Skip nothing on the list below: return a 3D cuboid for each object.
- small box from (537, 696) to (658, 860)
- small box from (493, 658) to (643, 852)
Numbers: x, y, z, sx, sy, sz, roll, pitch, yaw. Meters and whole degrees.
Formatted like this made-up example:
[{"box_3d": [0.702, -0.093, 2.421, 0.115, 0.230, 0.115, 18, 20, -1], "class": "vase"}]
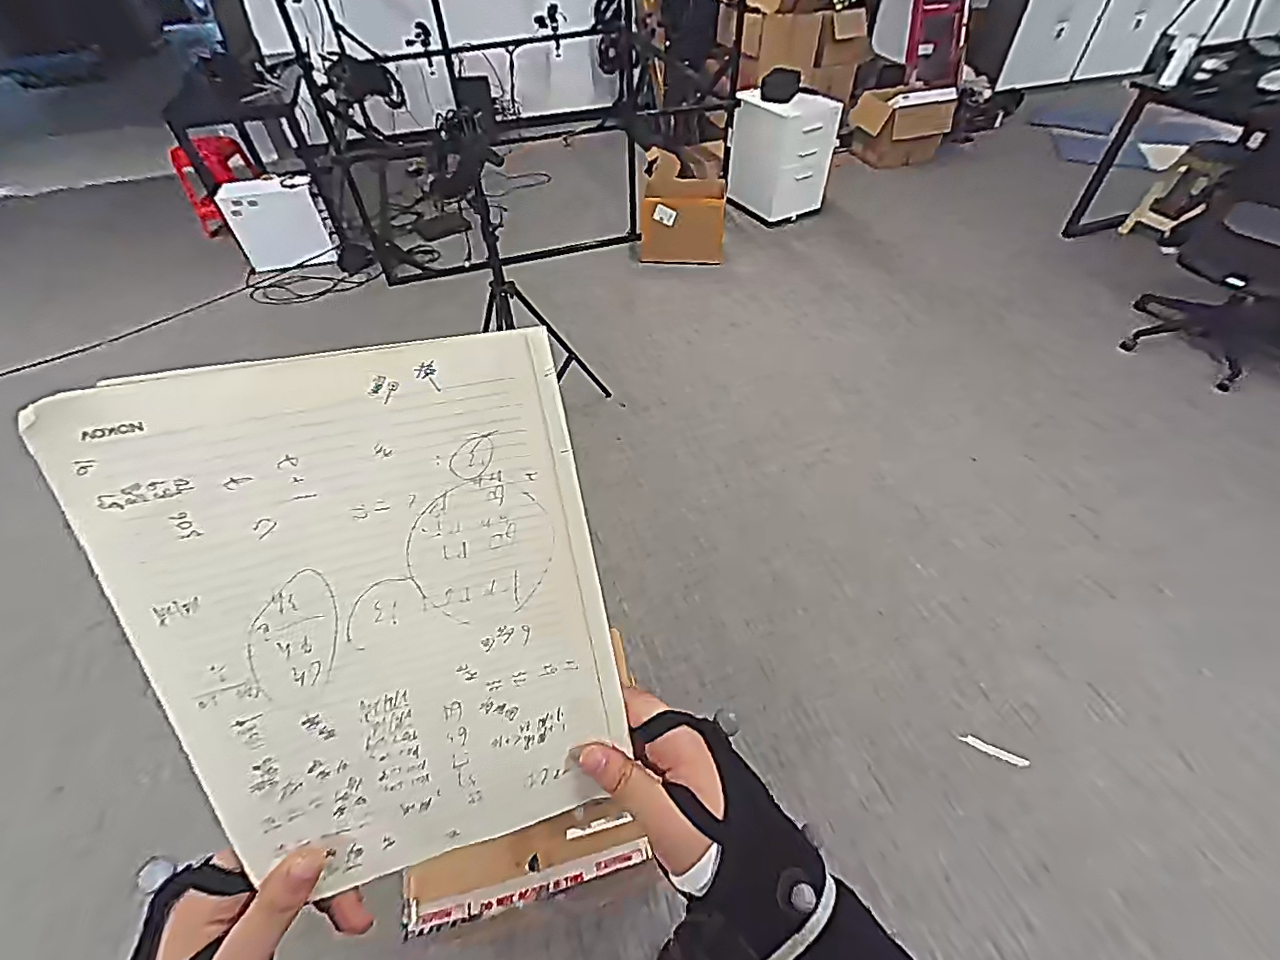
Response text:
[{"box_3d": [-0.082, 0.465, 0.843, 0.179, 0.176, 0.168, -12, 50, -11], "class": "small box"}, {"box_3d": [-0.096, 0.363, 0.714, 0.168, 0.176, 0.179, -8, 51, -9], "class": "small box"}]
